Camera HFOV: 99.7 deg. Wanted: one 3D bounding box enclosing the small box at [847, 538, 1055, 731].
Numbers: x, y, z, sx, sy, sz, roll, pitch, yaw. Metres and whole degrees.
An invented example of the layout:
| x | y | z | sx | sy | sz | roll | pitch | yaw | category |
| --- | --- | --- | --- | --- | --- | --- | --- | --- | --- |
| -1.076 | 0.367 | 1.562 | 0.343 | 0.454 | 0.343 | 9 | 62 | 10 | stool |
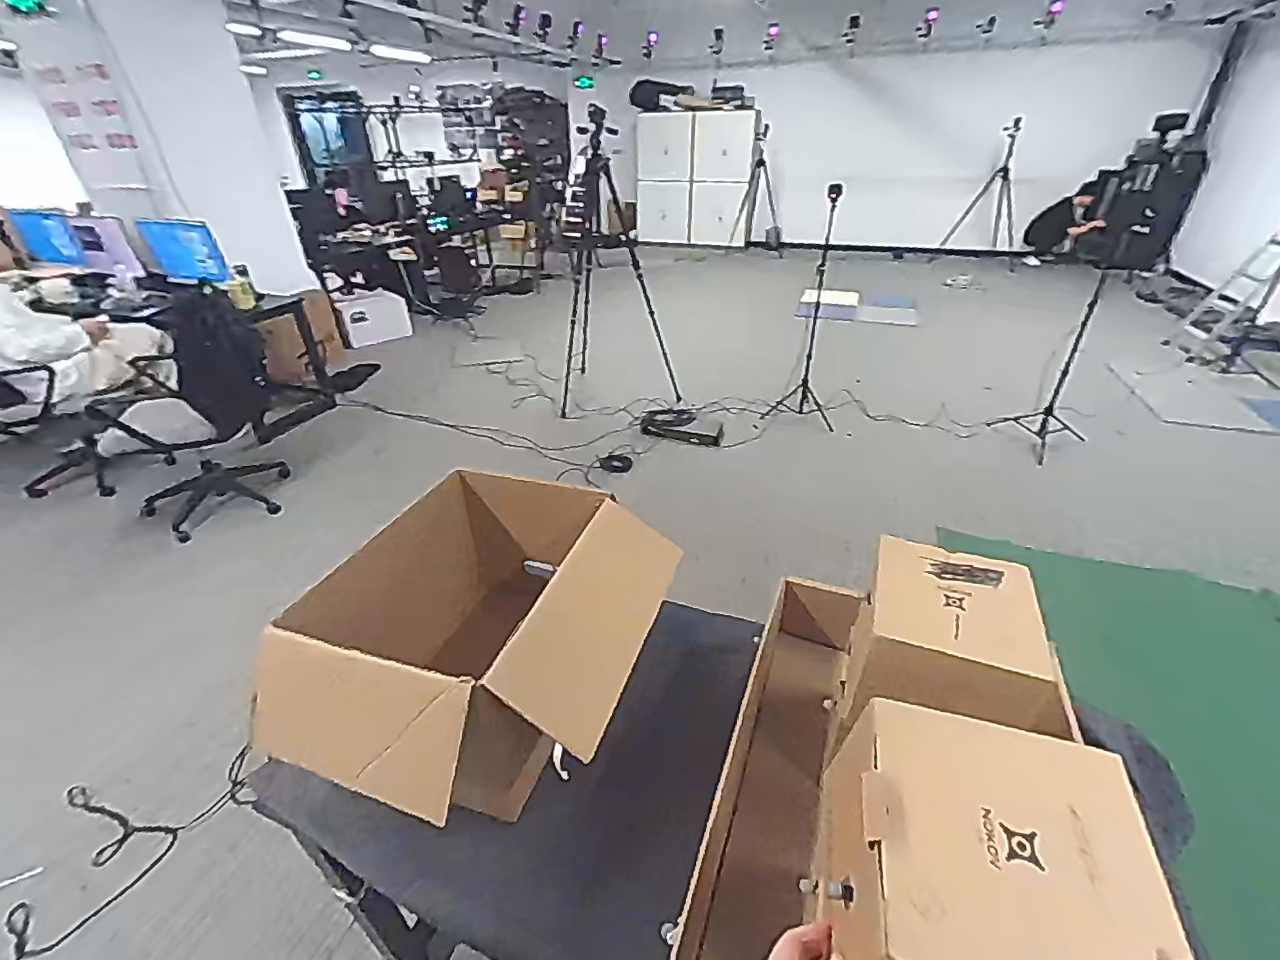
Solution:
| x | y | z | sx | sy | sz | roll | pitch | yaw | category |
| --- | --- | --- | --- | --- | --- | --- | --- | --- | --- |
| 0.354 | 0.202 | 0.646 | 0.168 | 0.176 | 0.179 | 12 | 36 | 20 | small box |

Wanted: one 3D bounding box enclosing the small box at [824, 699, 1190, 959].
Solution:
| x | y | z | sx | sy | sz | roll | pitch | yaw | category |
| --- | --- | --- | --- | --- | --- | --- | --- | --- | --- |
| 0.244 | 0.297 | 0.408 | 0.179 | 0.176 | 0.168 | 10 | 45 | 11 | small box |
